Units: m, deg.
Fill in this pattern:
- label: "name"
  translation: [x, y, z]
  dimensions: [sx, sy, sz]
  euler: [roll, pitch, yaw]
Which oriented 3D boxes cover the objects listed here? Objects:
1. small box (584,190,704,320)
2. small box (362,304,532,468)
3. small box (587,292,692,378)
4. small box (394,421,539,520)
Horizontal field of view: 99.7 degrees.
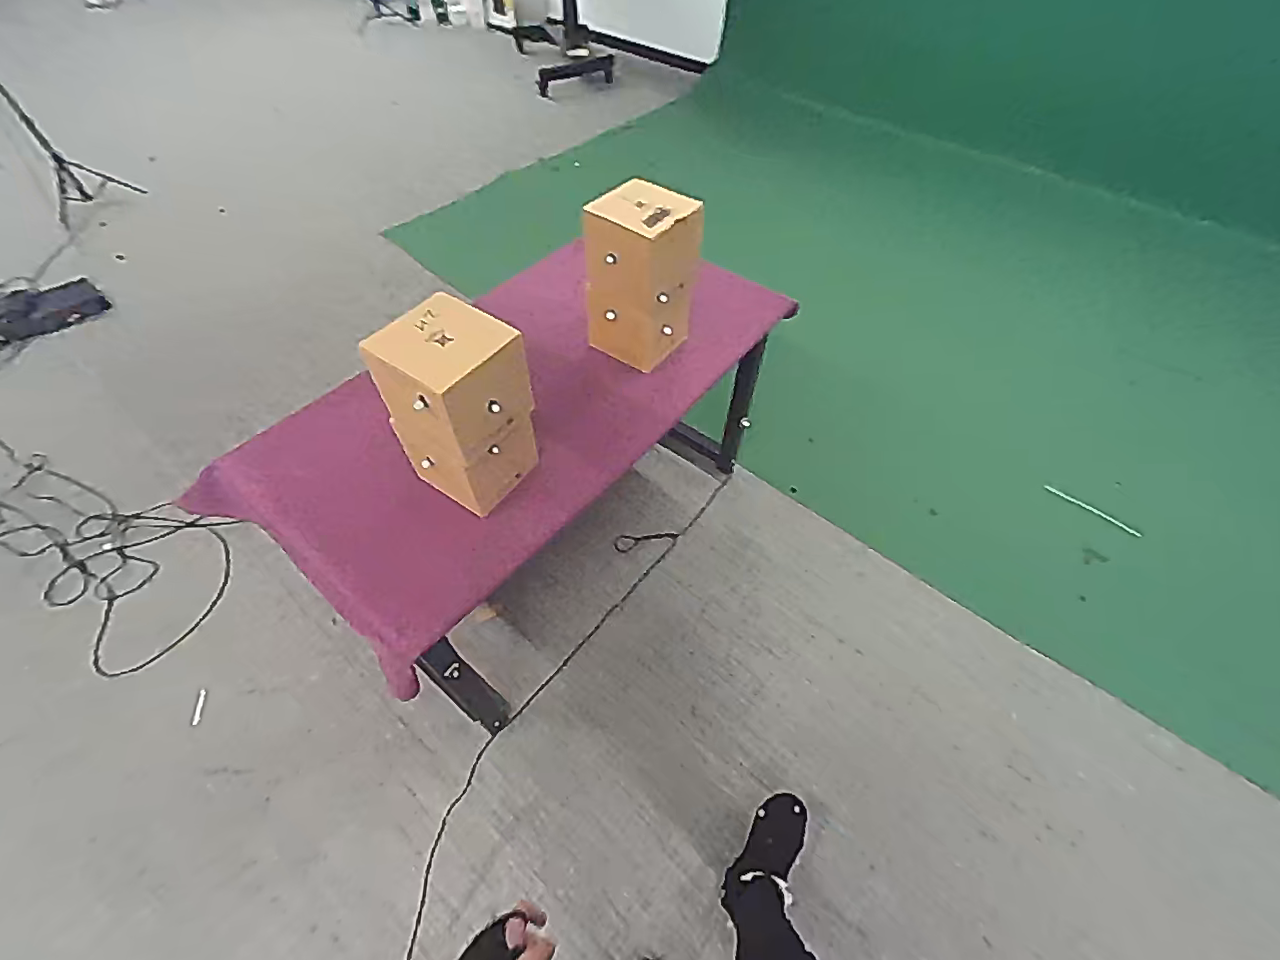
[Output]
- label: "small box"
  translation: [0.009, -0.454, 1.106]
  dimensions: [0.179, 0.176, 0.168]
  euler: [34, 60, 24]
- label: "small box"
  translation: [-0.295, -0.145, 0.870]
  dimensions: [0.179, 0.176, 0.168]
  euler: [30, 57, 20]
- label: "small box"
  translation: [0.003, -0.360, 1.241]
  dimensions: [0.179, 0.176, 0.168]
  euler: [31, 59, 22]
- label: "small box"
  translation: [-0.313, -0.054, 1.008]
  dimensions: [0.179, 0.176, 0.168]
  euler: [28, 59, 19]
